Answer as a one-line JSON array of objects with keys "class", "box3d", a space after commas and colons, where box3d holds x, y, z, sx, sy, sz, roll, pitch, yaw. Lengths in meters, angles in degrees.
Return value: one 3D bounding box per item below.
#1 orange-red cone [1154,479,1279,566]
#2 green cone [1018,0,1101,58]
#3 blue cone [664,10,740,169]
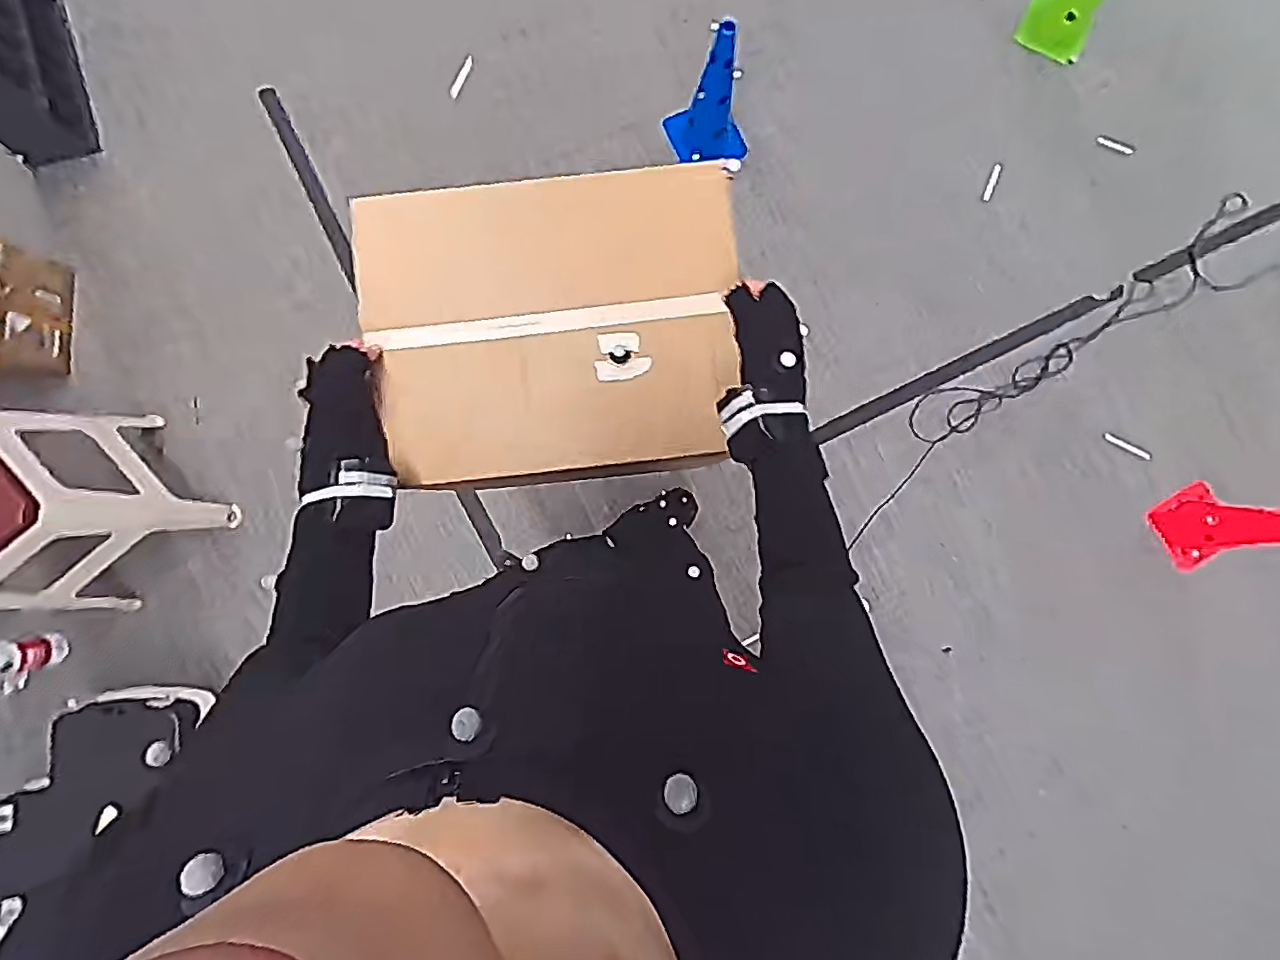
[{"class": "orange-red cone", "box3d": [1.570, 0.105, 1.347, 0.199, 0.360, 0.198, -29, 88, -5]}, {"class": "green cone", "box3d": [1.256, -1.397, 1.449, 0.202, 0.368, 0.200, 25, 85, 2]}, {"class": "blue cone", "box3d": [0.187, -1.028, 1.415, 0.193, 0.380, 0.192, -24, 86, -3]}]
